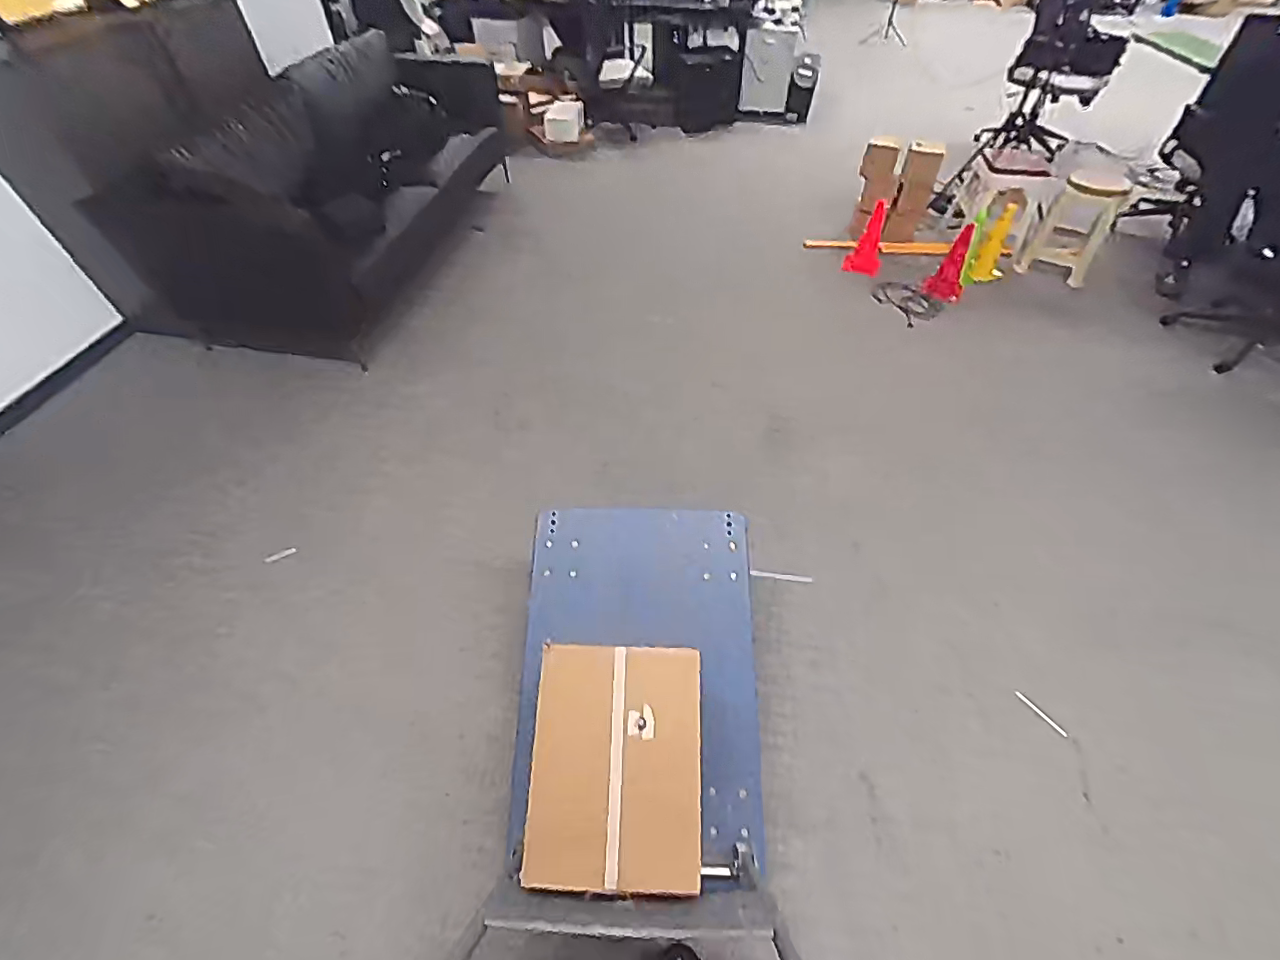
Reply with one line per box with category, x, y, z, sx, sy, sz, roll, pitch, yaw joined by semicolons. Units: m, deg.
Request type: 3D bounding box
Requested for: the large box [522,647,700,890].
large box;-0.045;0.578;1.141;0.320;0.320;0.408;1;68;1
